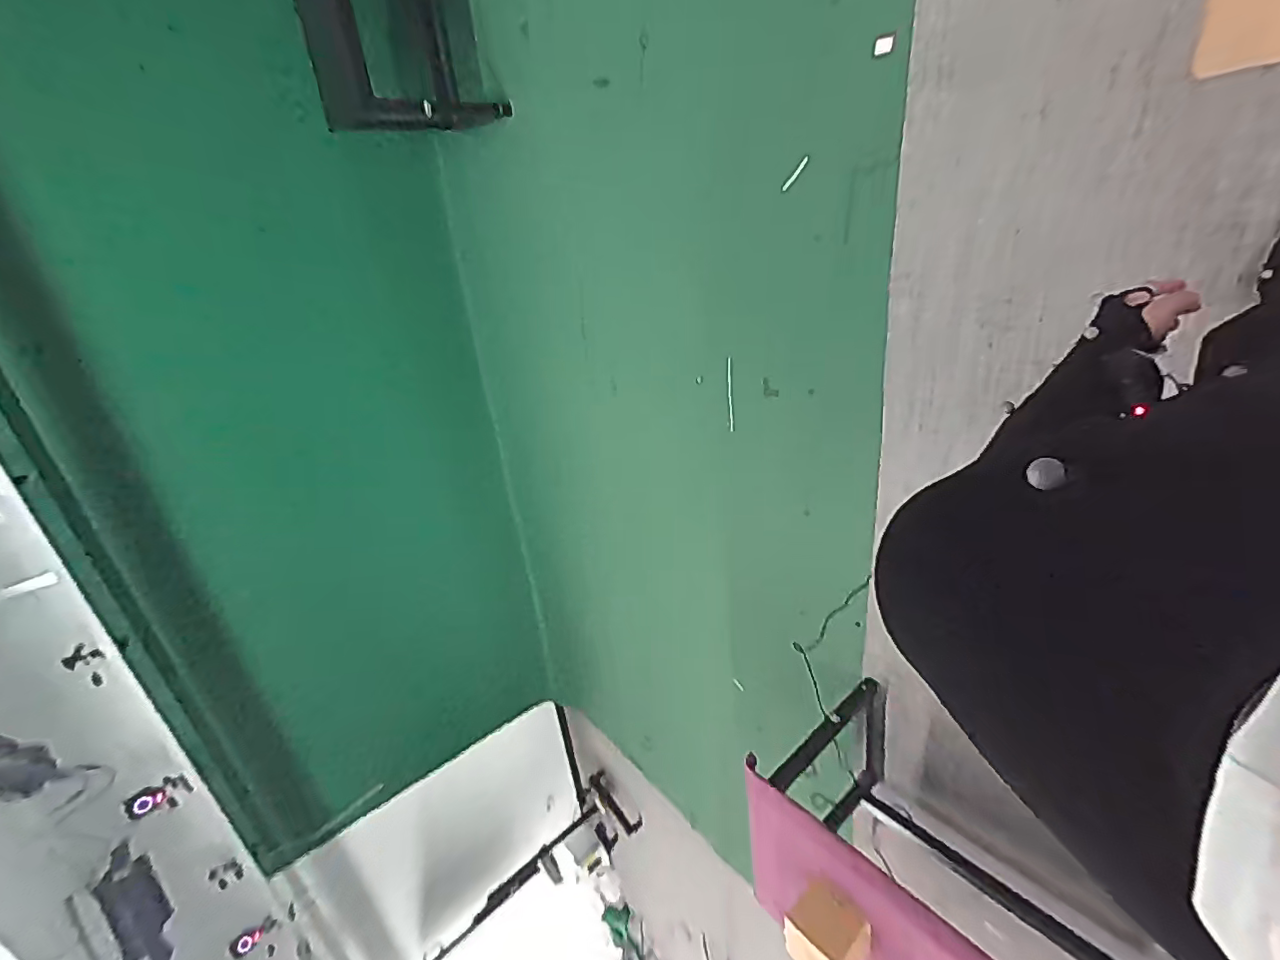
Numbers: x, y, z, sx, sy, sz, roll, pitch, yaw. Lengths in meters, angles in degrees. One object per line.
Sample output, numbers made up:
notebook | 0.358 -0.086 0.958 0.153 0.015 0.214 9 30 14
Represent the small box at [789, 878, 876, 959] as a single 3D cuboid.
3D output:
small box | 0.558 1.313 1.573 0.179 0.176 0.168 20 125 49
